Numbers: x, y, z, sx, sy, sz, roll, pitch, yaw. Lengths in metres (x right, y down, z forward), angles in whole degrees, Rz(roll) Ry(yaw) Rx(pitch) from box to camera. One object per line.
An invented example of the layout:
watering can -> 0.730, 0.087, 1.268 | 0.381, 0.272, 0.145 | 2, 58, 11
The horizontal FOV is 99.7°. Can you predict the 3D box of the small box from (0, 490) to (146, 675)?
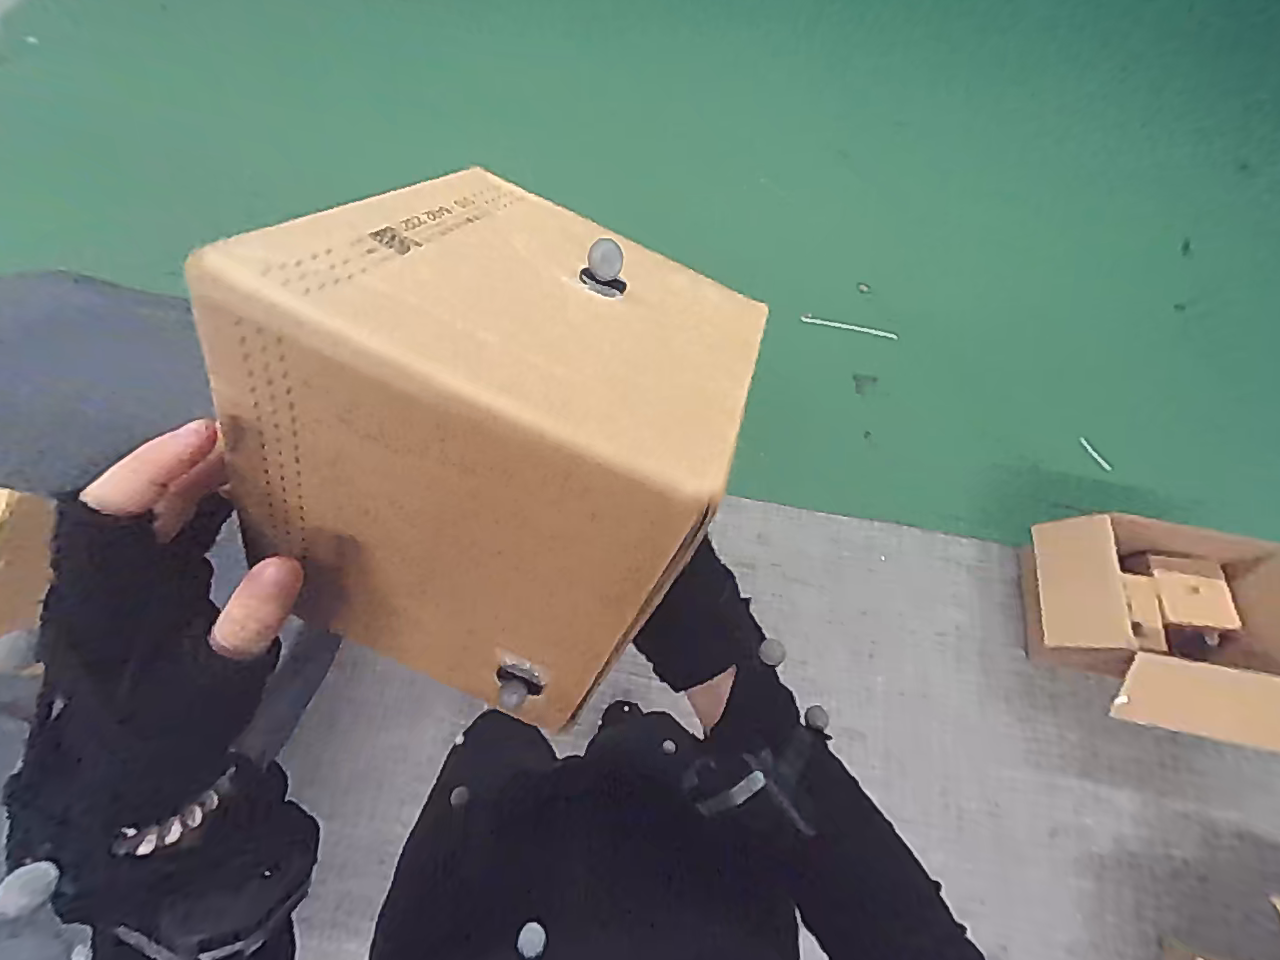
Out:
small box -> -0.692, 0.104, 0.559 | 0.179, 0.176, 0.168 | 9, 68, 0
